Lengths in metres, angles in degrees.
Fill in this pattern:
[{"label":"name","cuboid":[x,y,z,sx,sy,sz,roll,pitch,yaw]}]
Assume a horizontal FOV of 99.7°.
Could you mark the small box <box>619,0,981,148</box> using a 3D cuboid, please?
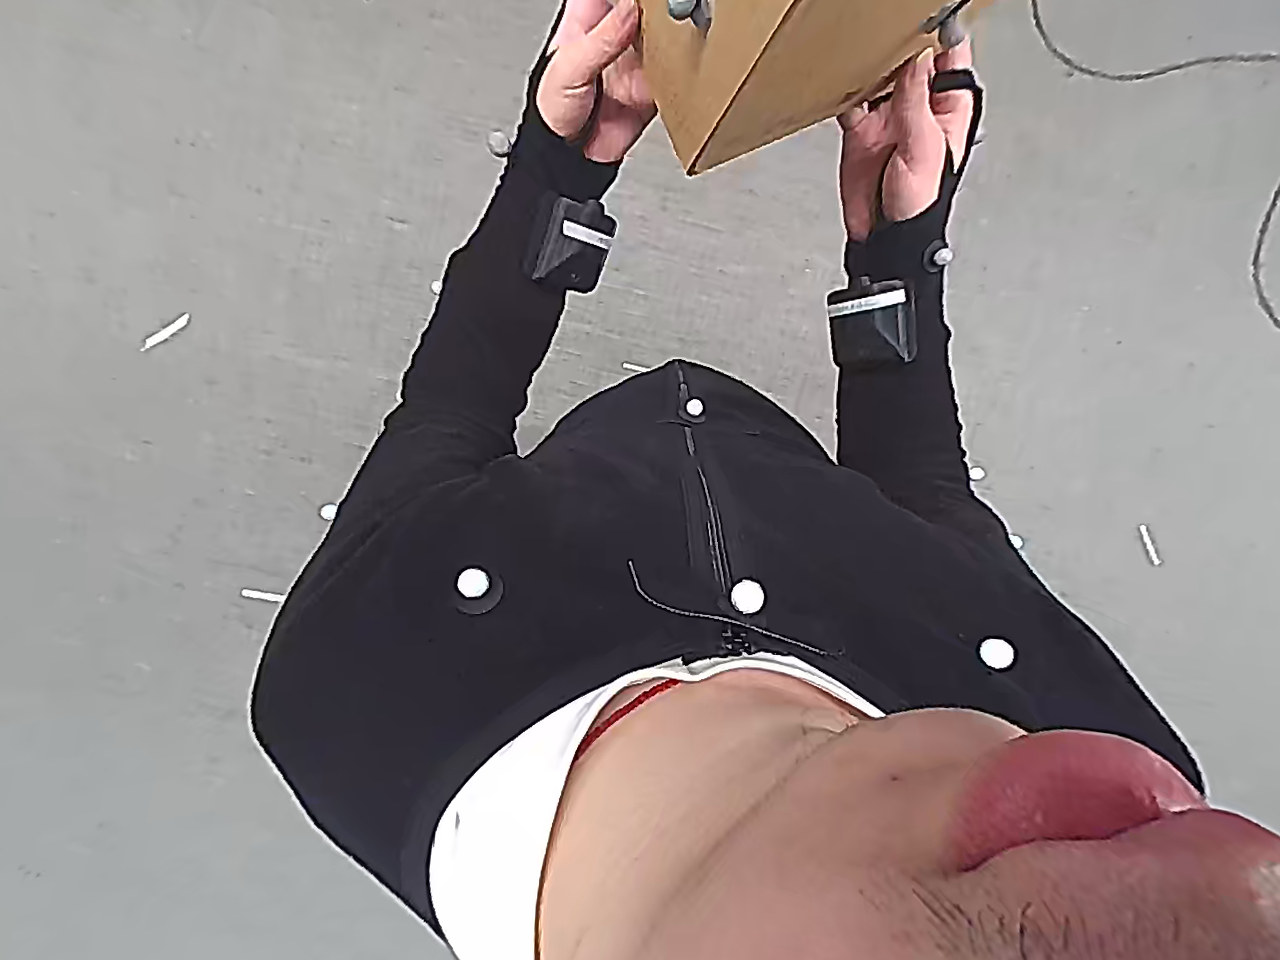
[{"label":"small box","cuboid":[0.082,-0.296,0.260,0.168,0.176,0.179,-27,100,-8]}]
